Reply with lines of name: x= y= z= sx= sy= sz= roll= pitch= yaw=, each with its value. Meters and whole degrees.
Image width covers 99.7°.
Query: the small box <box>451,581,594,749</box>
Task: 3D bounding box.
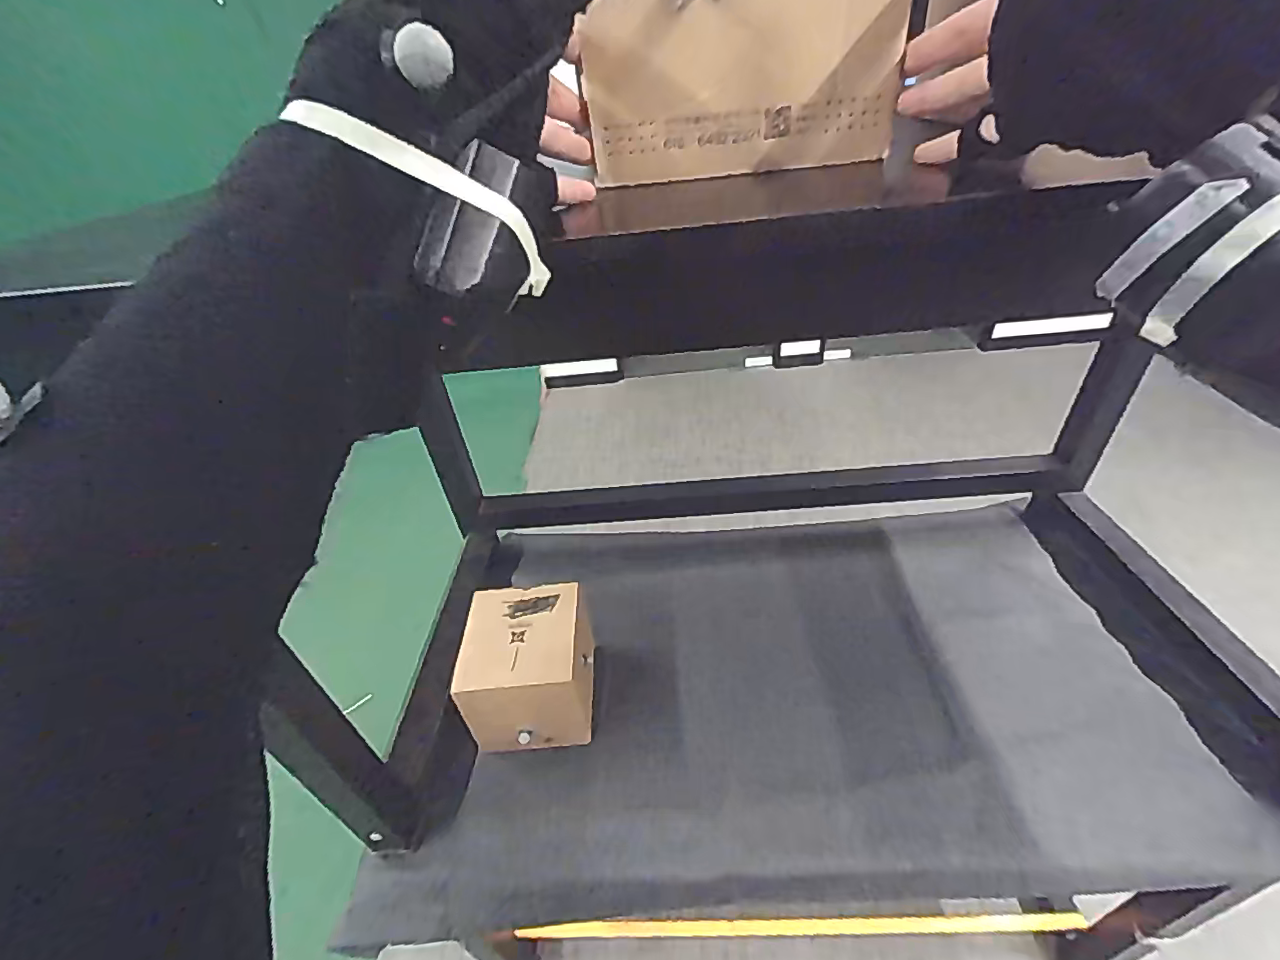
small box: x=-0.165 y=0.281 z=0.825 sx=0.168 sy=0.176 sz=0.179 roll=-6 pitch=38 yaw=2

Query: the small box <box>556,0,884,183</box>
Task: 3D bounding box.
small box: x=0.044 y=-0.288 z=0.326 sx=0.168 sy=0.176 sz=0.179 roll=-3 pitch=37 yaw=7
